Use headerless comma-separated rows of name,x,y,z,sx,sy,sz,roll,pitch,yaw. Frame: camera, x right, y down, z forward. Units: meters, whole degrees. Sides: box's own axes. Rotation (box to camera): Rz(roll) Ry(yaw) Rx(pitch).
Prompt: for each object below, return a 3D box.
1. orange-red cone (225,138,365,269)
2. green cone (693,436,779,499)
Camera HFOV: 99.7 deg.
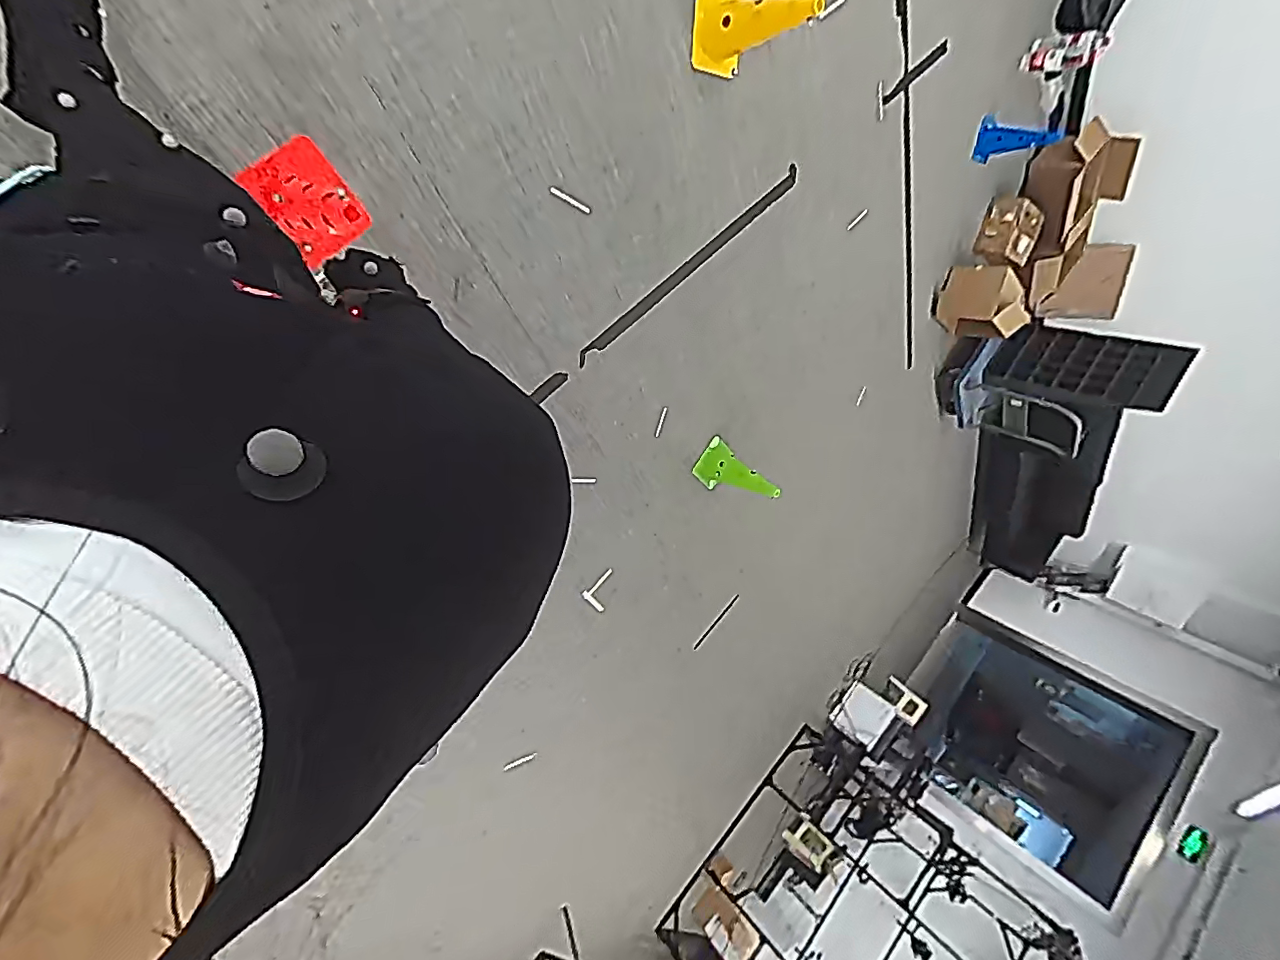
orange-red cone,-0.597,-0.512,1.017,0.199,0.360,0.198,-47,137,-16
green cone,0.437,-0.014,2.302,0.202,0.368,0.200,-56,138,-3
